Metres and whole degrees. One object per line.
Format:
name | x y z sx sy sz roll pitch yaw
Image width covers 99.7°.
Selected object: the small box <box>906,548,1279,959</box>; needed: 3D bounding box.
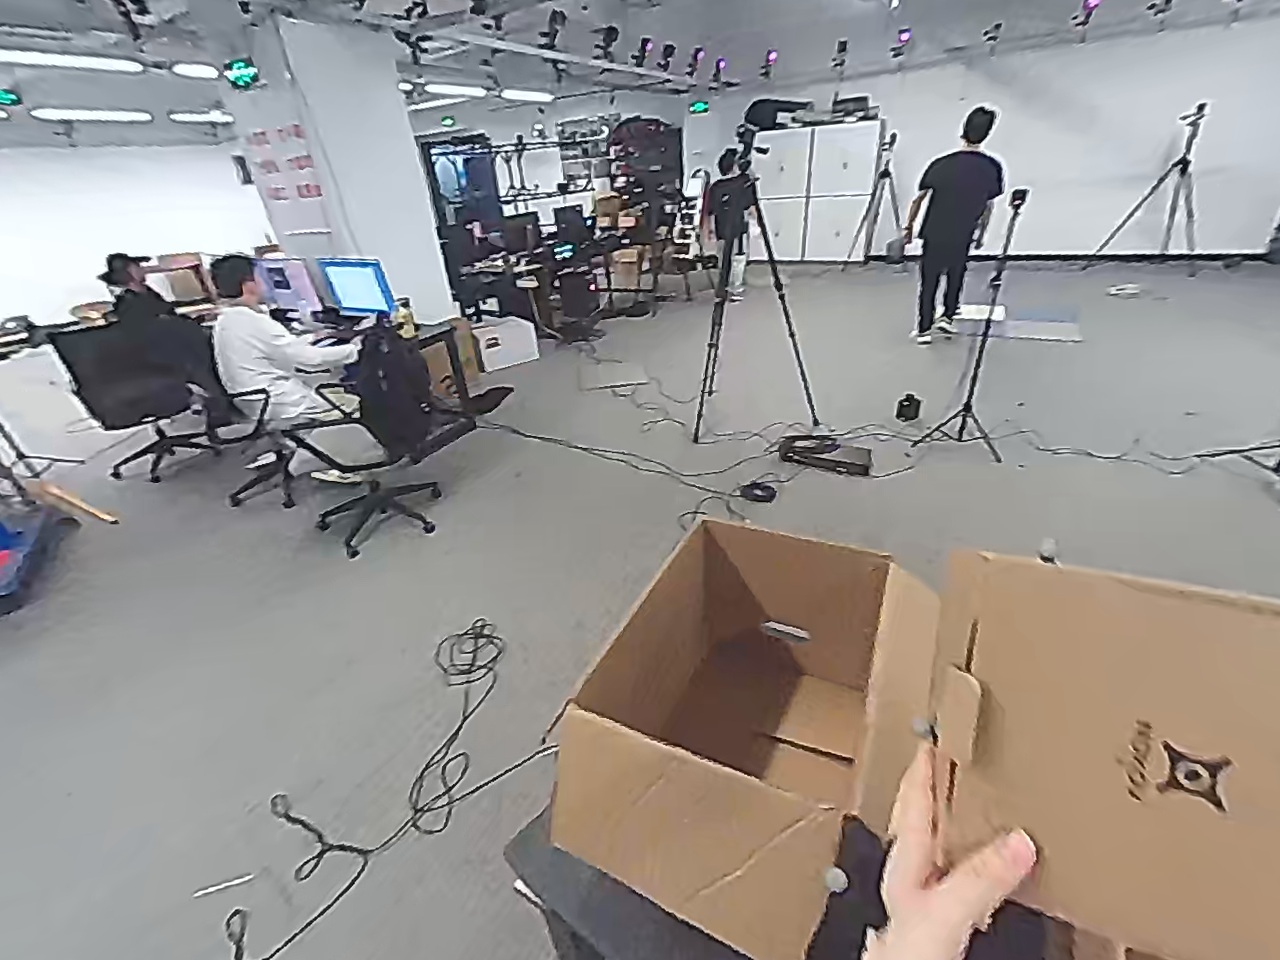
small box | 0.269 0.137 0.328 0.179 0.168 0.176 9 0 23
